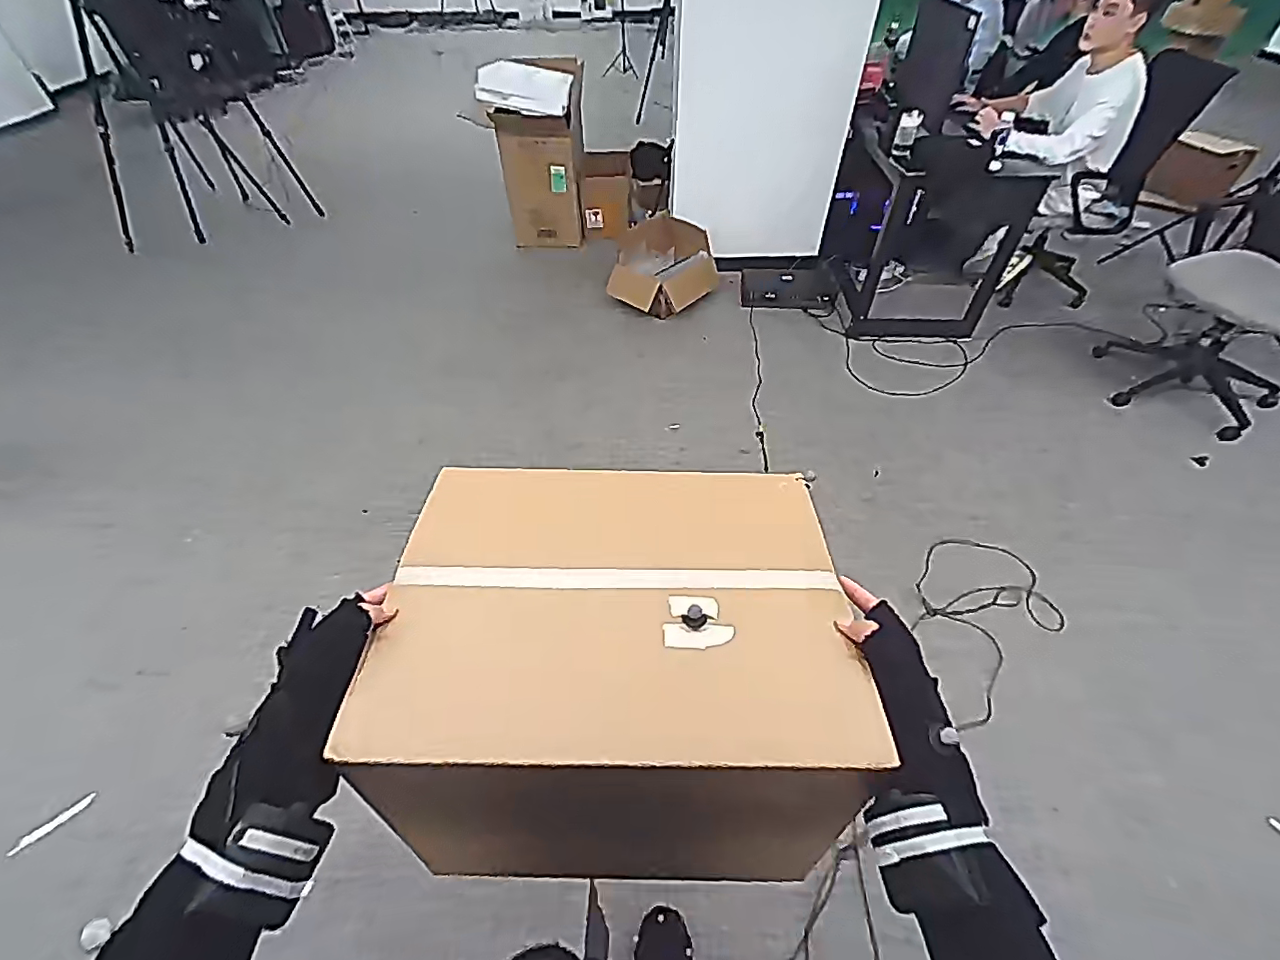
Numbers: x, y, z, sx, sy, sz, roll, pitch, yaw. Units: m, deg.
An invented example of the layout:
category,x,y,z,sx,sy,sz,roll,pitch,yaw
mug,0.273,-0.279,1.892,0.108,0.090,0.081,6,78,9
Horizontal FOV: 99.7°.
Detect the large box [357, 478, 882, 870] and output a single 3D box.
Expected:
category,x,y,z,sx,sy,sz,roll,pitch,yaw
large box,-0.019,0.212,0.610,0.408,0.320,0.320,1,41,-1
